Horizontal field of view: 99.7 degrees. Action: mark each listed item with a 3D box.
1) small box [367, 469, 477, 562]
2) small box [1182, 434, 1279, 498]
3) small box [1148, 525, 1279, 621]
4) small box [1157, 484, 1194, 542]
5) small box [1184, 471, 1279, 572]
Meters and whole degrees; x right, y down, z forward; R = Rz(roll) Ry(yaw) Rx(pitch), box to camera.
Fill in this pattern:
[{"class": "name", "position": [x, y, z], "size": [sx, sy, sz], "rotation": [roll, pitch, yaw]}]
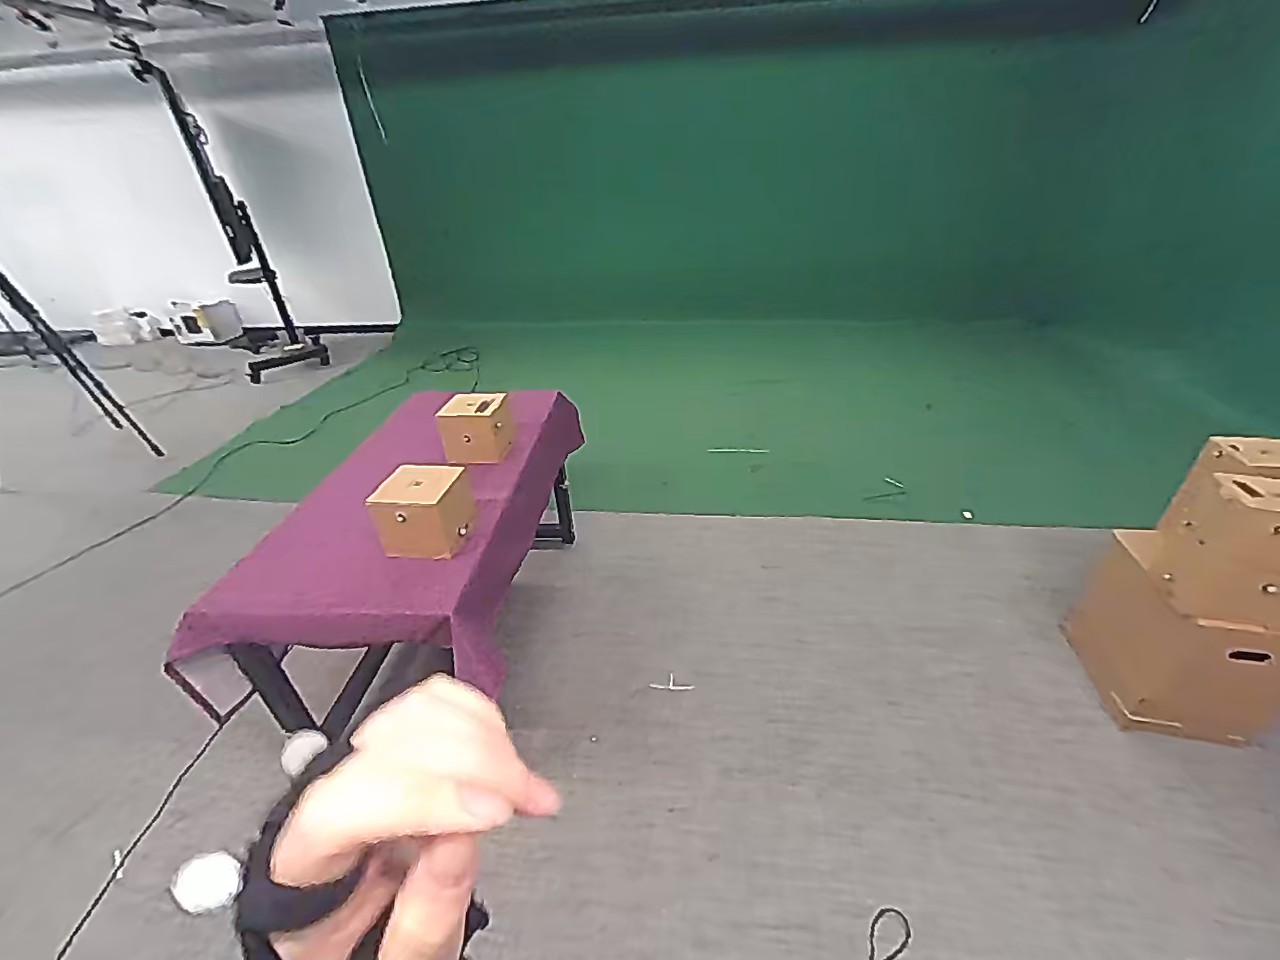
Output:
[{"class": "small box", "position": [-0.527, 0.087, 1.335], "size": [0.179, 0.176, 0.168], "rotation": [2, 33, 9]}, {"class": "small box", "position": [1.645, -0.005, 1.459], "size": [0.179, 0.176, 0.168], "rotation": [6, 33, 14]}, {"class": "small box", "position": [1.482, 0.241, 1.391], "size": [0.179, 0.176, 0.168], "rotation": [6, 32, 13]}, {"class": "small box", "position": [1.657, 0.132, 1.549], "size": [0.168, 0.176, 0.179], "rotation": [4, 33, 11]}, {"class": "small box", "position": [1.479, 0.101, 1.305], "size": [0.179, 0.176, 0.168], "rotation": [9, 34, 15]}]
